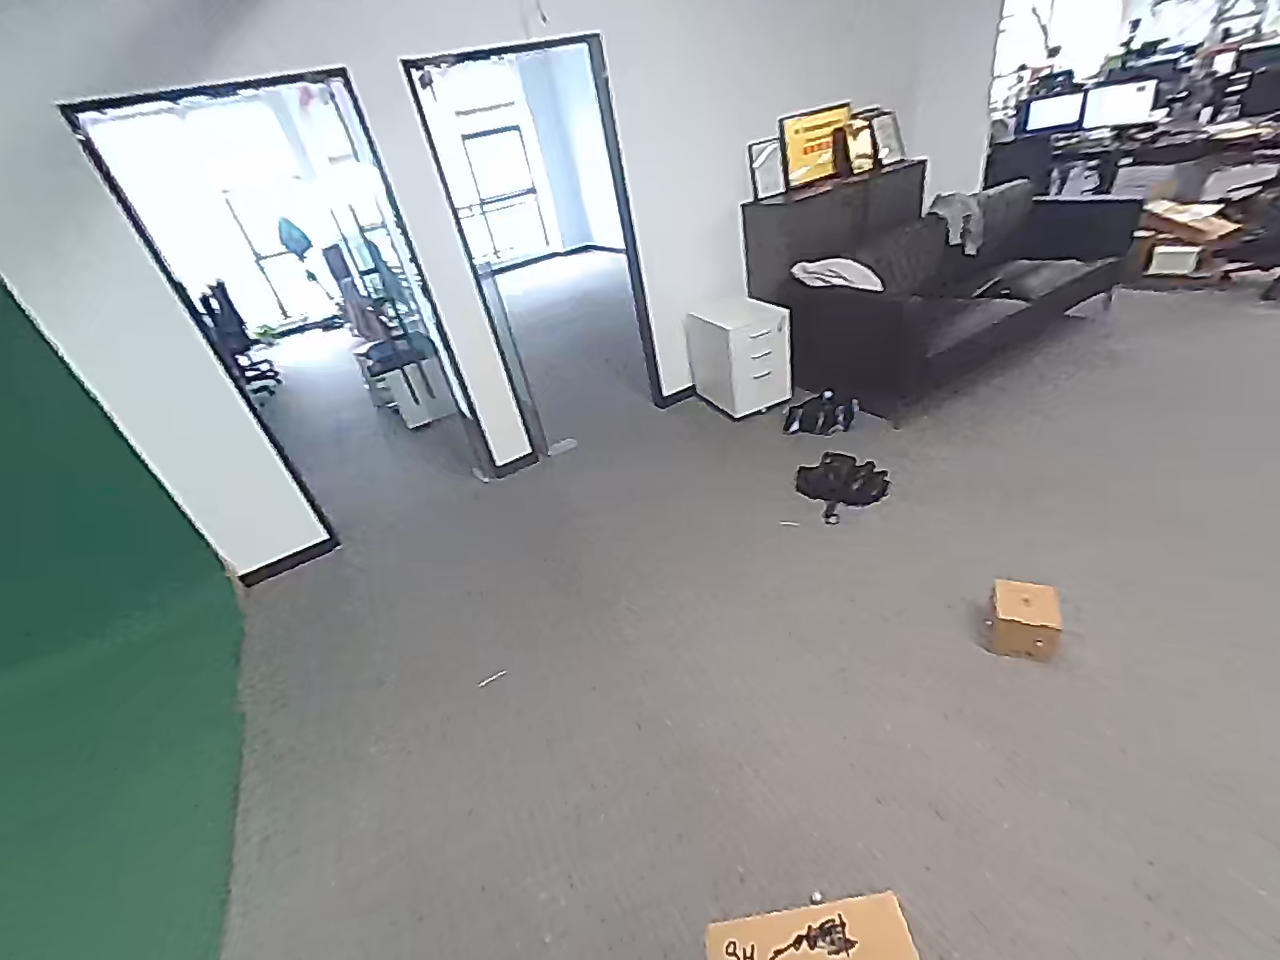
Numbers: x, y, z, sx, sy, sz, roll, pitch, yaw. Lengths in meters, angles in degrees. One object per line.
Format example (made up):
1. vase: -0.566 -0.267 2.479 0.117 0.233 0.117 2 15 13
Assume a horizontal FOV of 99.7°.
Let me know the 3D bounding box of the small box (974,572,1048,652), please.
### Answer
1. small box: 1.205 0.432 1.766 0.168 0.176 0.179 6 35 24
